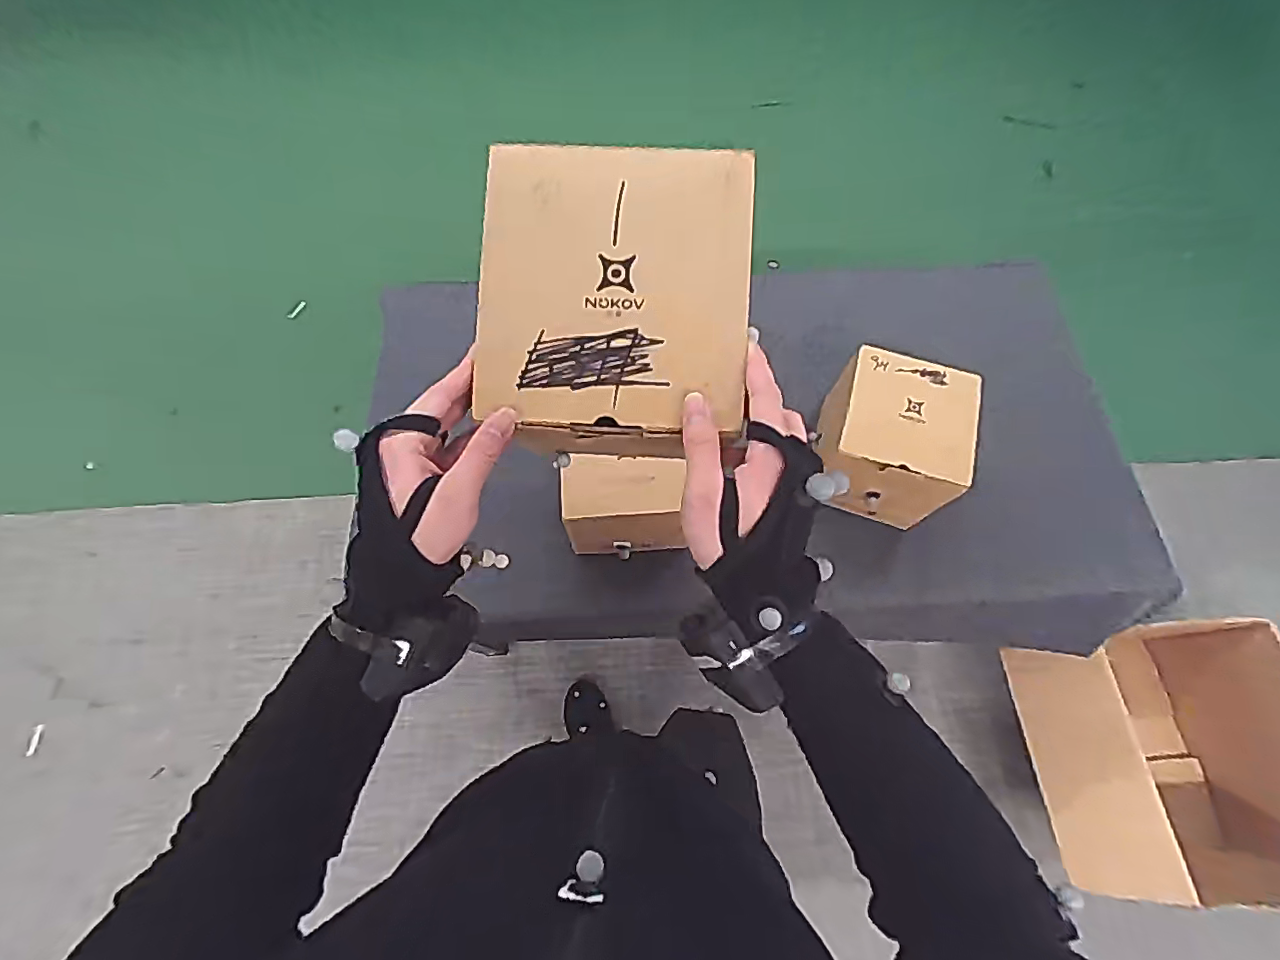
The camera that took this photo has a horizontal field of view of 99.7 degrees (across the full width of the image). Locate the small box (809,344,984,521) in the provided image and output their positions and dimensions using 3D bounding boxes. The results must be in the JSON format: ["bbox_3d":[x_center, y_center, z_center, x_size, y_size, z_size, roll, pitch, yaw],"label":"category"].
[{"bbox_3d":[0.357,-0.059,0.779,0.168,0.176,0.179,18,69,7],"label":"small box"}]

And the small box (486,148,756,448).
[{"bbox_3d":[-0.009,-0.121,0.425,0.168,0.176,0.179,4,87,2],"label":"small box"}]

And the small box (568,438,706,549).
[{"bbox_3d":[-0.010,-0.015,0.741,0.168,0.176,0.179,-5,68,-2],"label":"small box"}]
